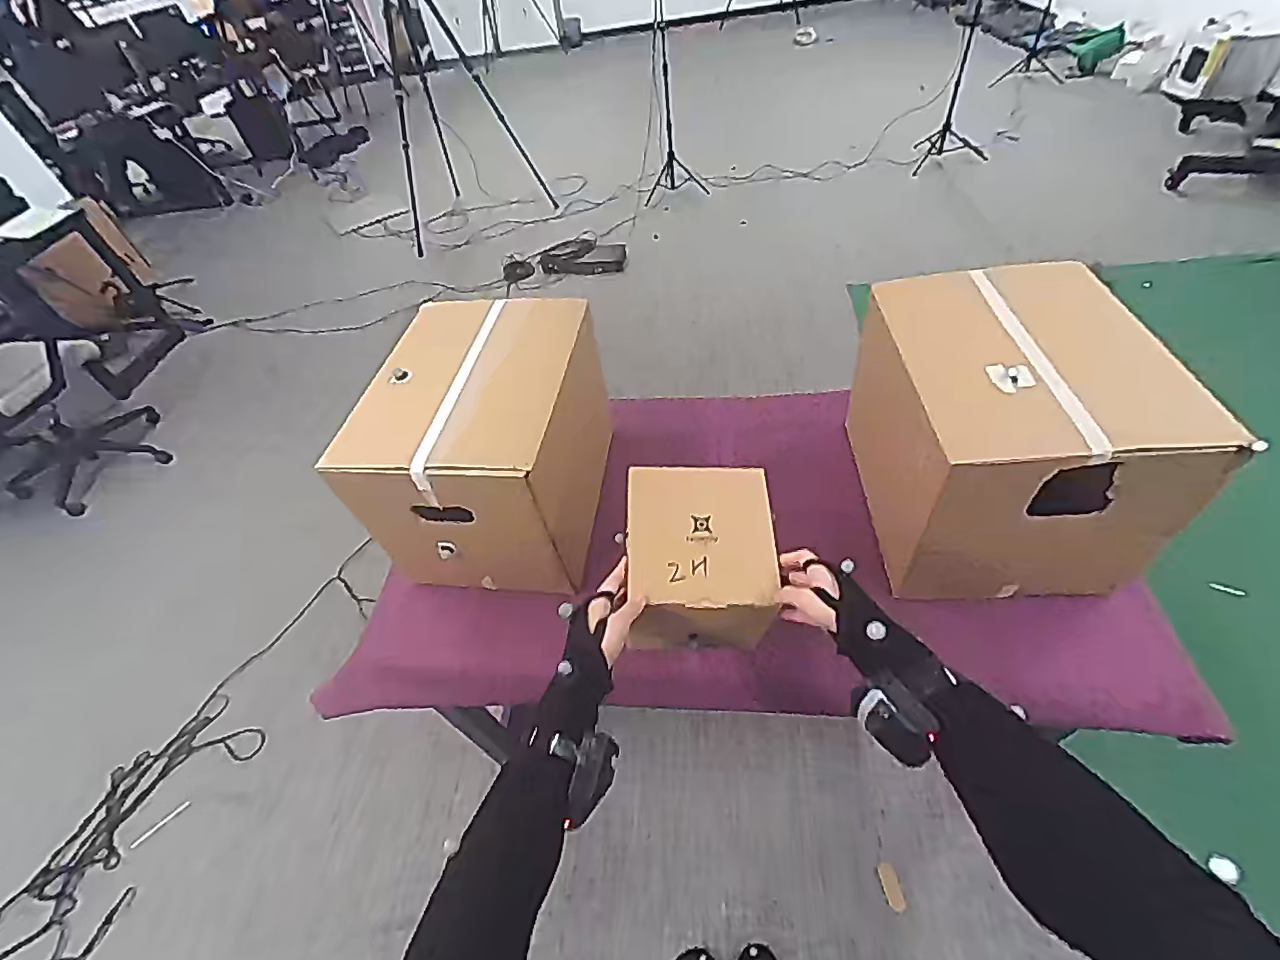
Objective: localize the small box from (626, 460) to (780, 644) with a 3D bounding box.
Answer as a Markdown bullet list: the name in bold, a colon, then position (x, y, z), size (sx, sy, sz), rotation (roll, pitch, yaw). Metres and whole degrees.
- **small box**: position (0.067, 0.093, 0.682), size (0.168, 0.176, 0.179), rotation (1, 58, 0)

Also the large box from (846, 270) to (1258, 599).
- **large box**: position (0.535, -0.069, 0.833), size (0.320, 0.320, 0.408), rotation (-4, 49, 9)
